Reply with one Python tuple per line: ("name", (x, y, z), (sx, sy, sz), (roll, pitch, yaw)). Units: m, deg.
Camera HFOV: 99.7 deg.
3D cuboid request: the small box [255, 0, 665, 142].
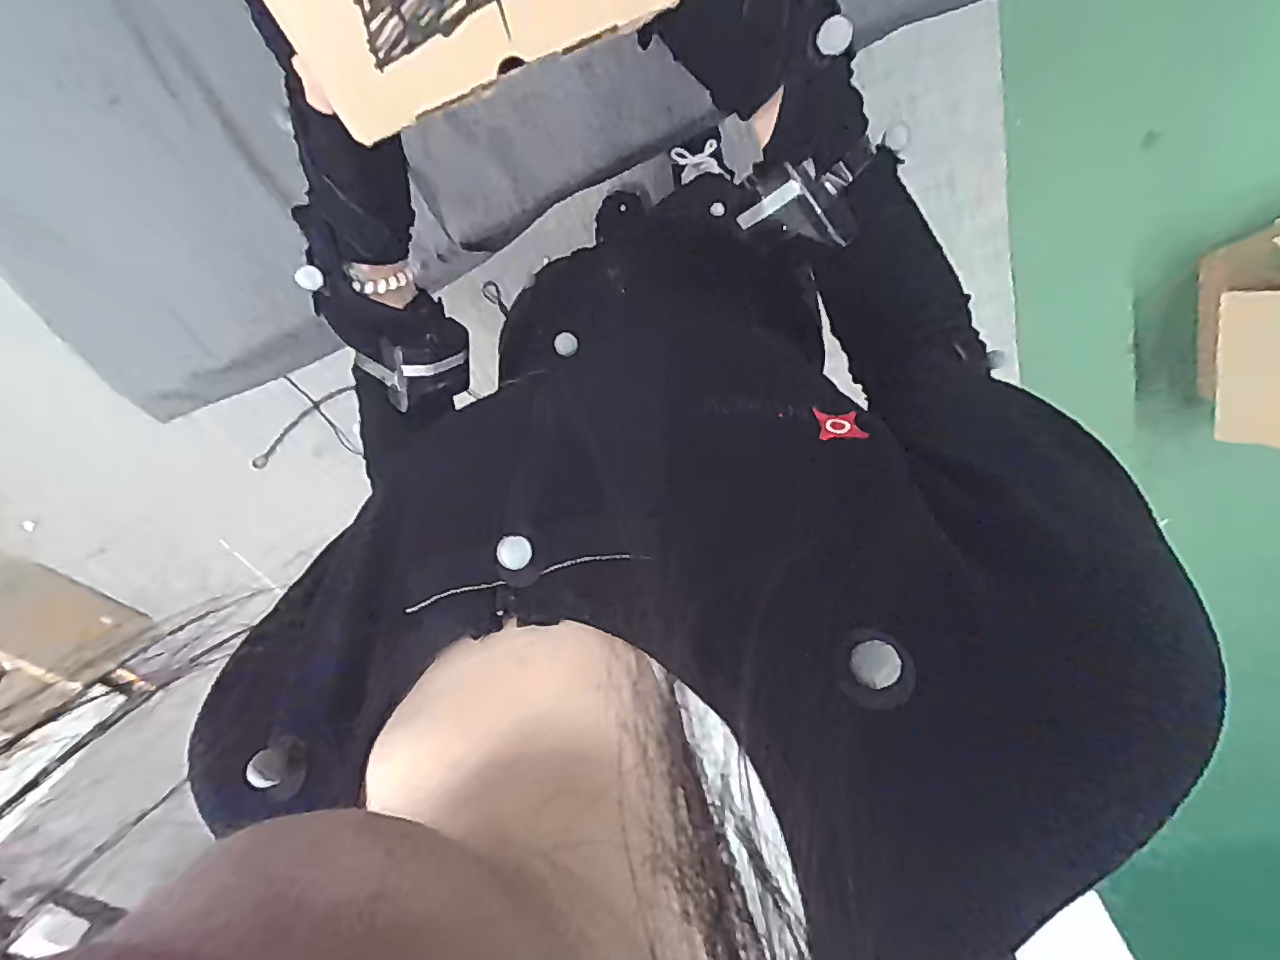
("small box", (-0.100, -0.296, 0.238), (0.168, 0.176, 0.179), (-20, 138, 6))
